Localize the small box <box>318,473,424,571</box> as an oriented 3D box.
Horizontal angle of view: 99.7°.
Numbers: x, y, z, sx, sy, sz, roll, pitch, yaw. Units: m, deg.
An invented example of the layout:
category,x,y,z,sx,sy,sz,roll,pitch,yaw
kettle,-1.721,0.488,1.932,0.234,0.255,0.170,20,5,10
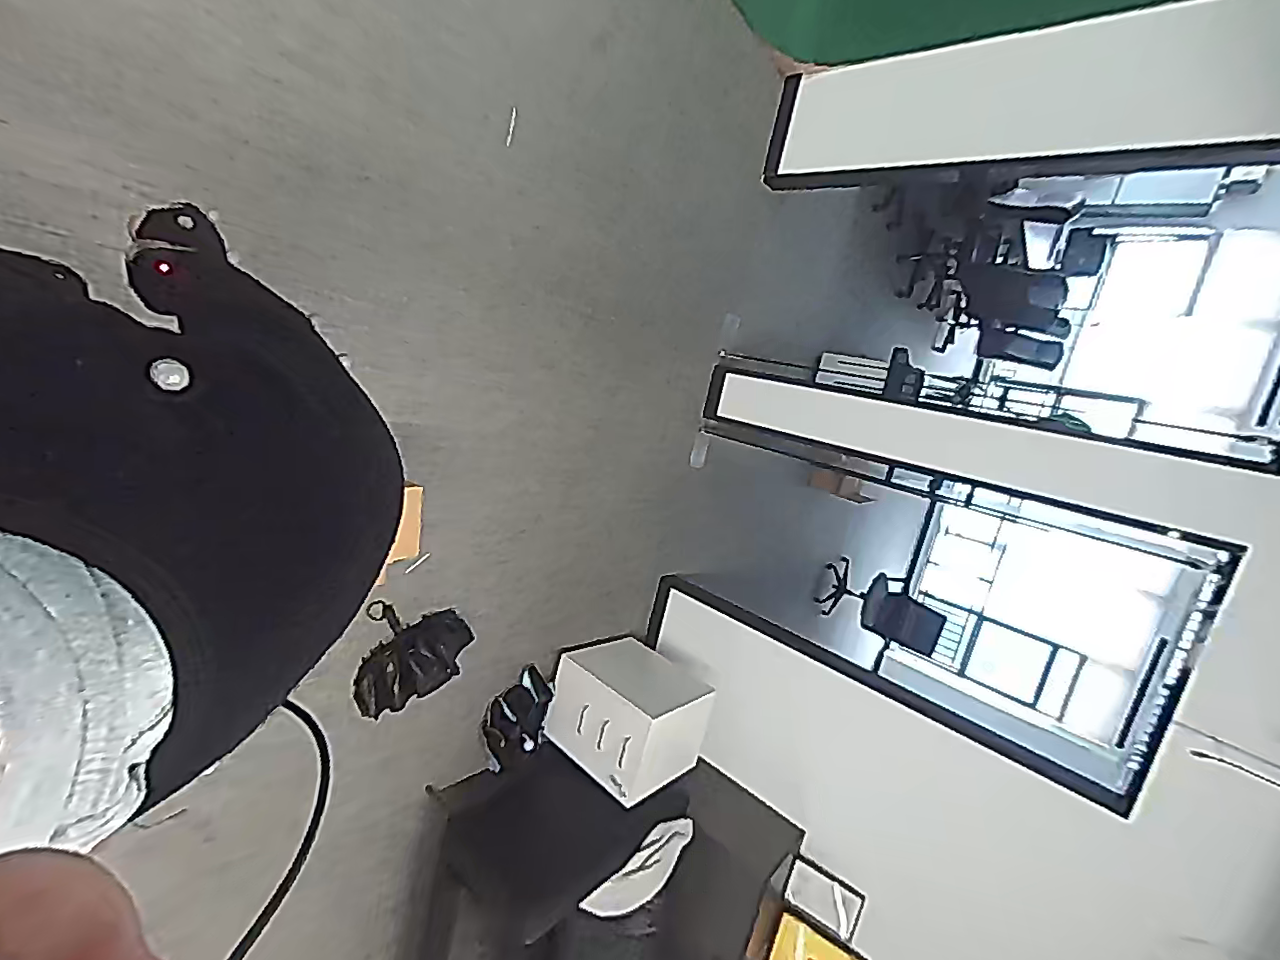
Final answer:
category,x,y,z,sx,sy,sz,roll,pitch,yaw
small box,-0.622,0.090,1.248,0.168,0.176,0.179,-7,107,-51
